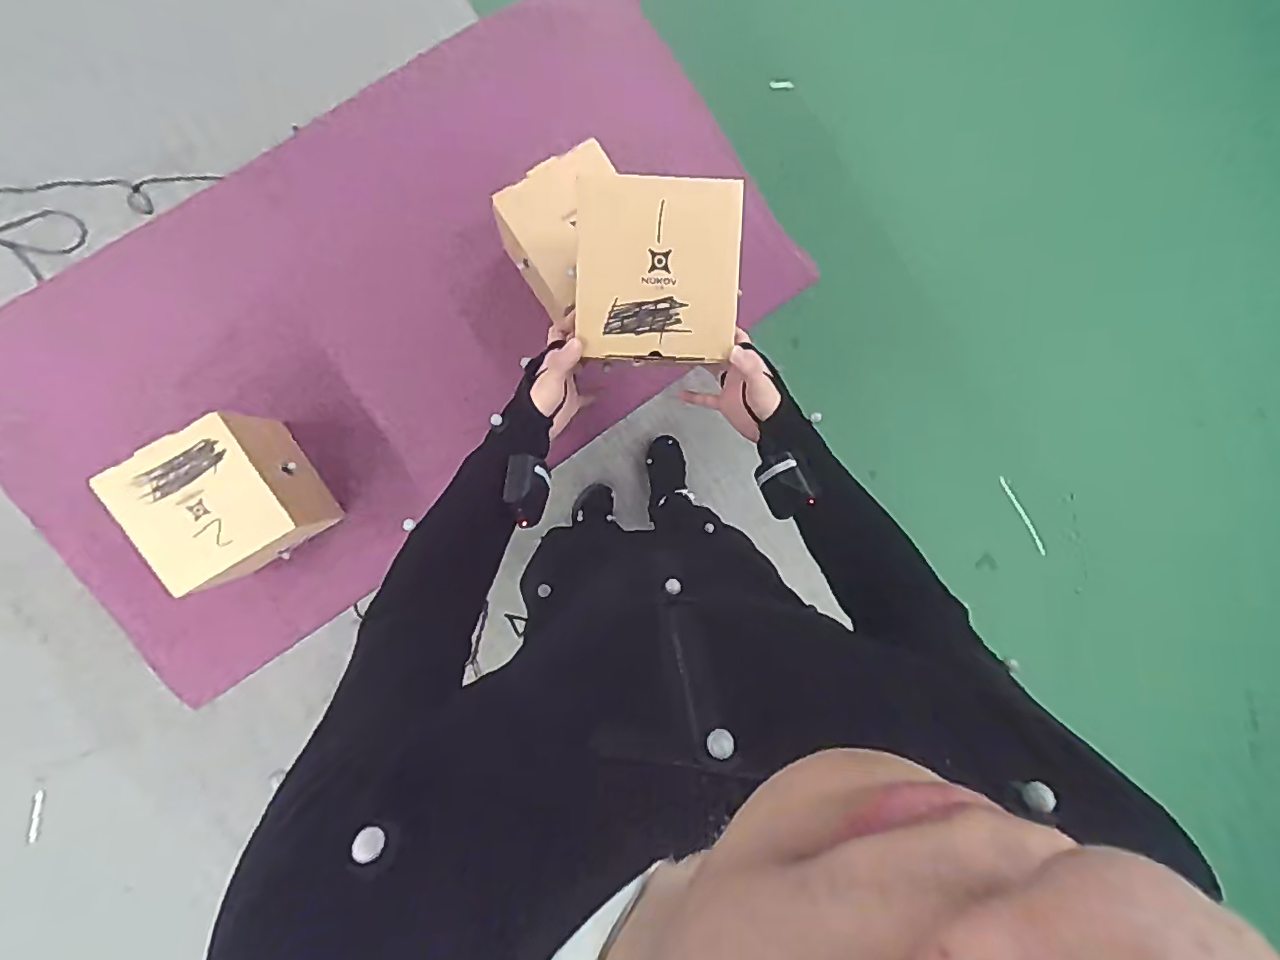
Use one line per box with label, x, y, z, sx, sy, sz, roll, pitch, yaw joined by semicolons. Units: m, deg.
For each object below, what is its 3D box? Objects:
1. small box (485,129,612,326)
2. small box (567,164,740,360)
small box;-0.104;-0.356;0.799;0.168;0.176;0.179;-33;96;-5
small box;0.009;-0.230;0.617;0.168;0.176;0.179;2;100;-4
